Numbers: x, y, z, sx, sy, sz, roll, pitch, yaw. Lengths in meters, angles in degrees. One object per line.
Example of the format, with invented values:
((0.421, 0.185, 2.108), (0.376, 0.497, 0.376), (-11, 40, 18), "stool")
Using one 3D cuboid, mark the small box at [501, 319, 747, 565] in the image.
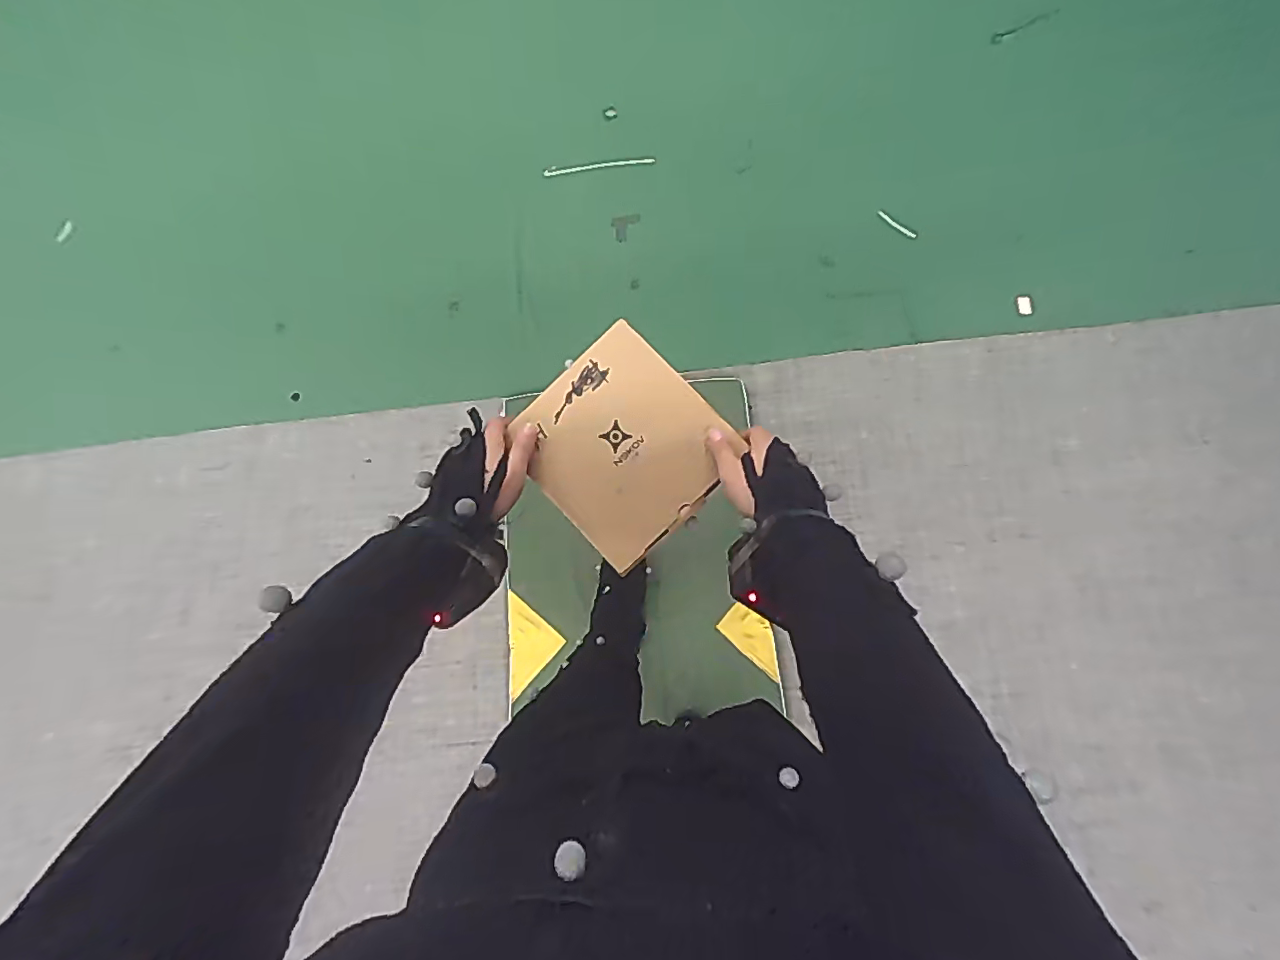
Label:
((-0.011, -0.033, 0.582), (0.168, 0.176, 0.179), (-43, 84, -1), "small box")
